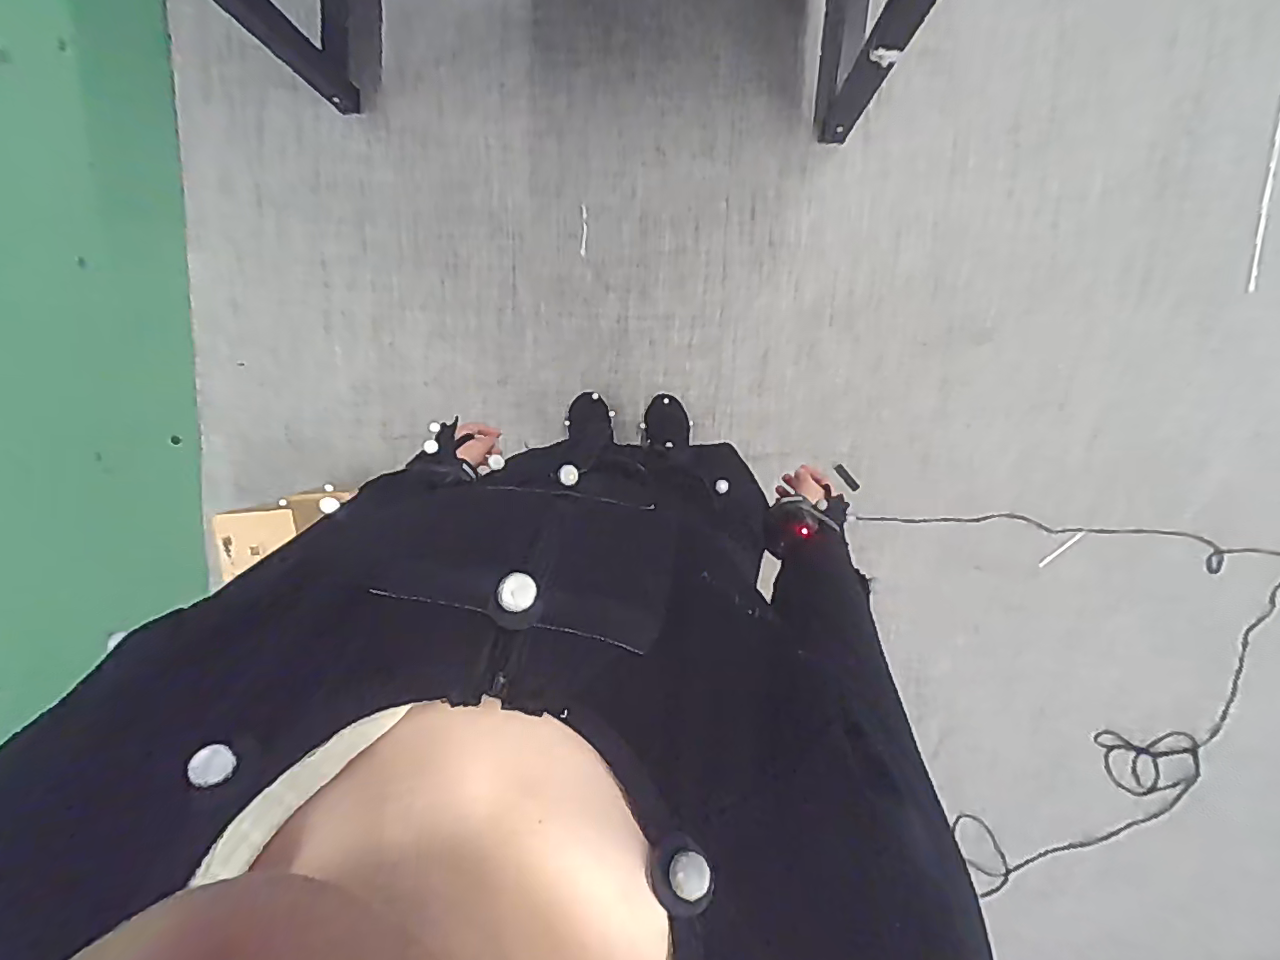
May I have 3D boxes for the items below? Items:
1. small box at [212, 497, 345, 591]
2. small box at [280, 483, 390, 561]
[{"bbox_3d":[-0.769,0.133,1.174,0.179,0.176,0.168,-4,96,3],"label":"small box"},{"bbox_3d":[-0.739,0.101,1.334,0.179,0.176,0.168,-3,97,4],"label":"small box"}]
